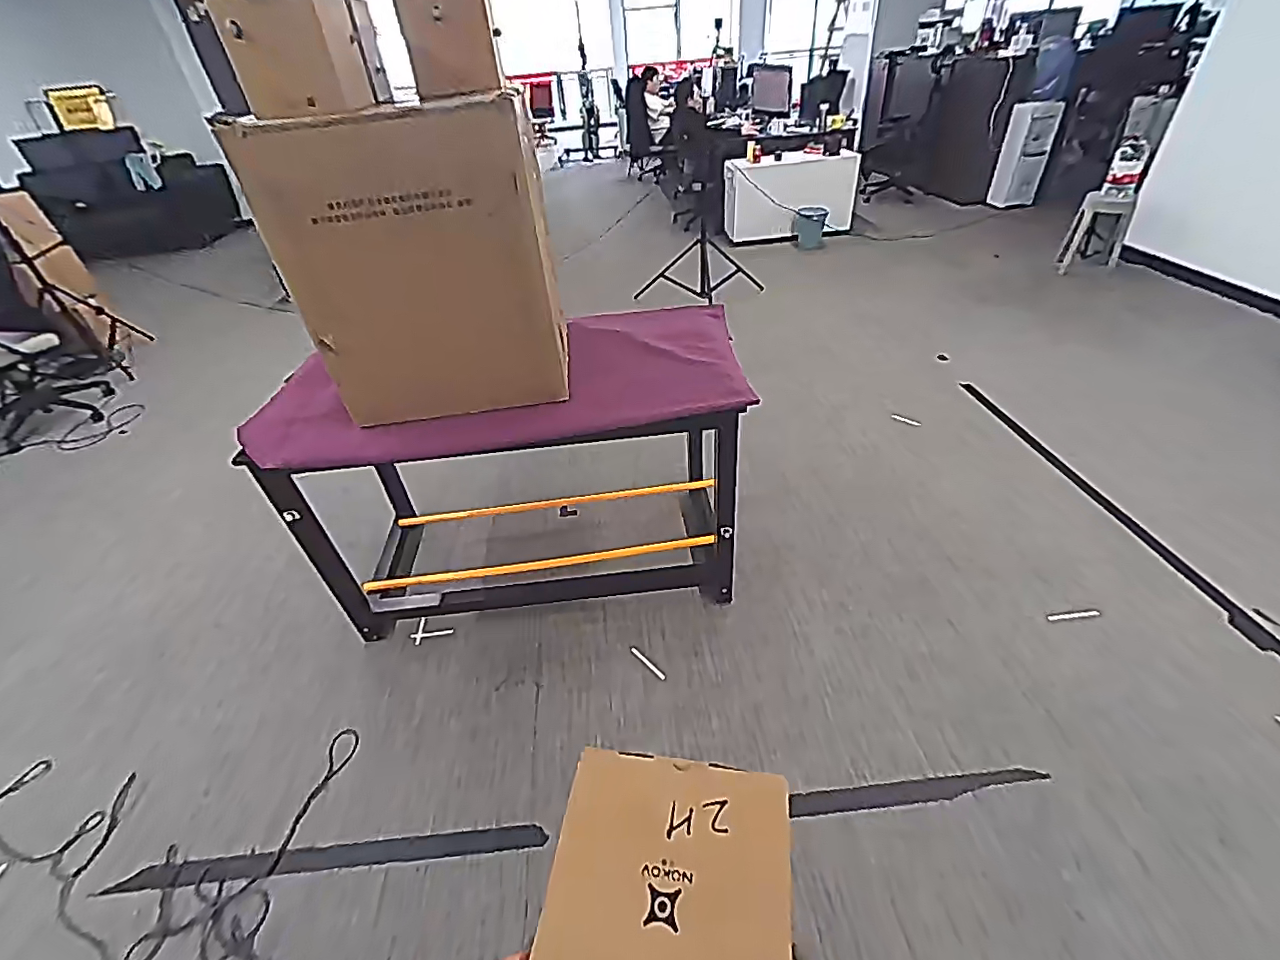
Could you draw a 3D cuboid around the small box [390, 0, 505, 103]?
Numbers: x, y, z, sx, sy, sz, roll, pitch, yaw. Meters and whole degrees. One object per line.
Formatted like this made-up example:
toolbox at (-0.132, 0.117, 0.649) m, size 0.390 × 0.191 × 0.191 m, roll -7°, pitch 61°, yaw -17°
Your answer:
small box at (-0.387, -0.905, 1.126) m, size 0.179 × 0.176 × 0.168 m, roll -9°, pitch 39°, yaw -2°
